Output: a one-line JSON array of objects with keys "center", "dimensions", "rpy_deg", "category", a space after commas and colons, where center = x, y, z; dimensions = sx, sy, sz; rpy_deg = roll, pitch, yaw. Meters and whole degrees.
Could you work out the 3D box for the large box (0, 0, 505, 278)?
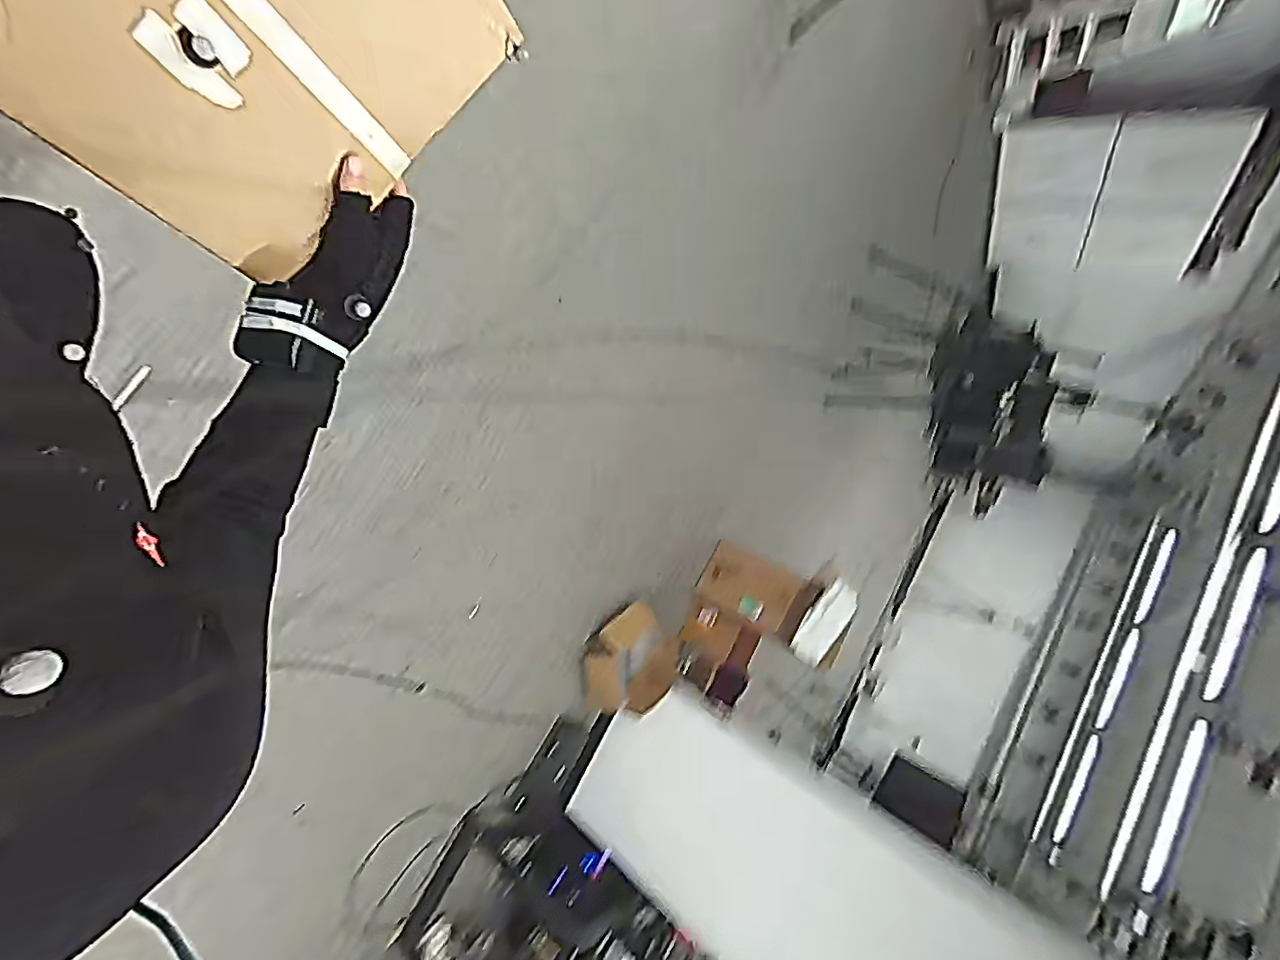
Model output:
[{"center": [-0.393, -0.441, 0.391], "dimensions": [0.320, 0.320, 0.408], "rpy_deg": [-47, 147, 2], "category": "large box"}]
